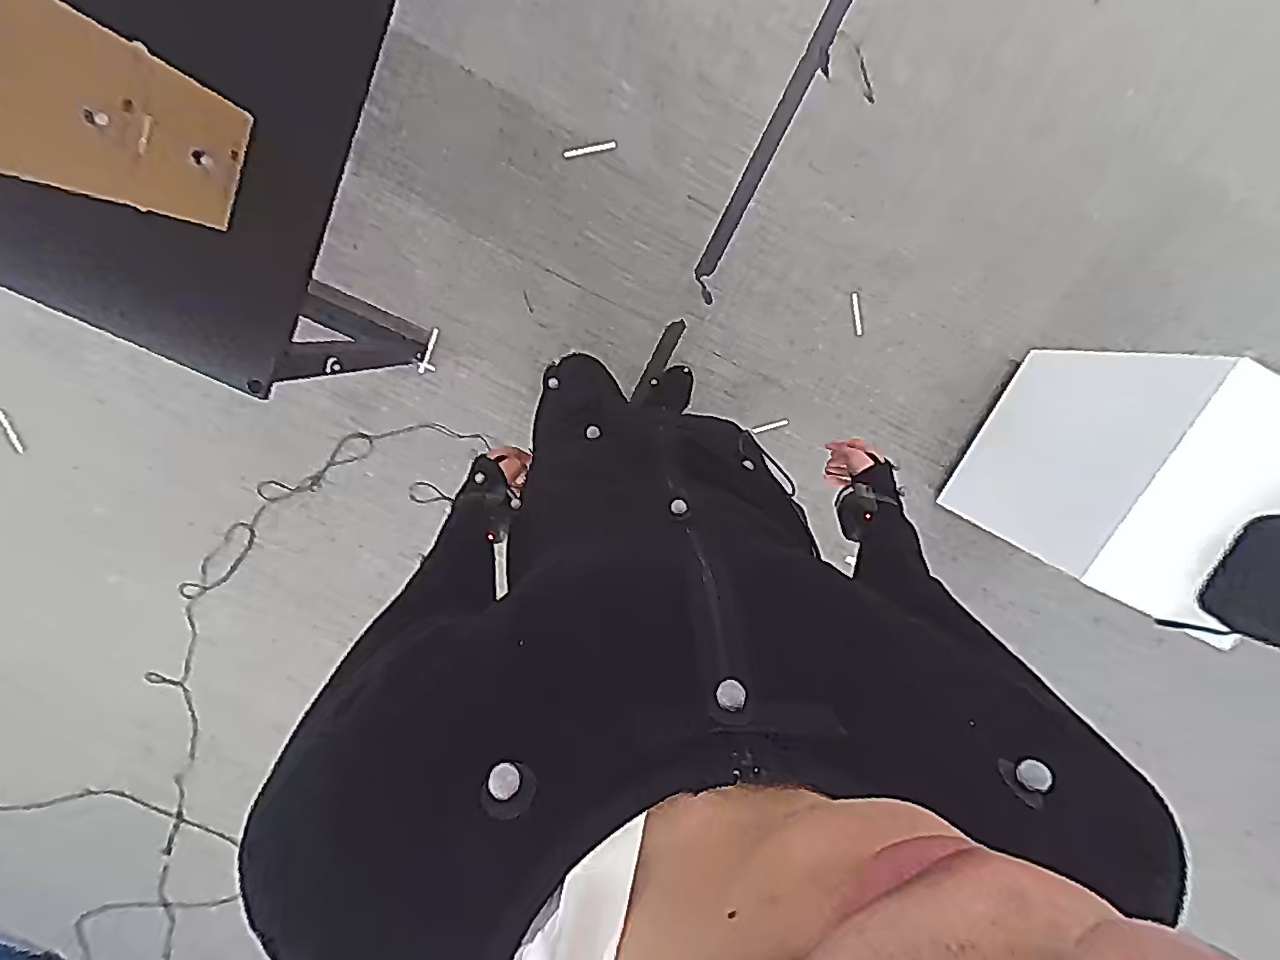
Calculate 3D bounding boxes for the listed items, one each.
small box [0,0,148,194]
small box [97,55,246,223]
[{"bbox_3d":[-0.643,-0.404,0.518,0.179,0.176,0.168,24,103,-7],"label":"small box"},{"bbox_3d":[-0.646,-0.444,0.678,0.179,0.176,0.168,23,102,-8],"label":"small box"}]
